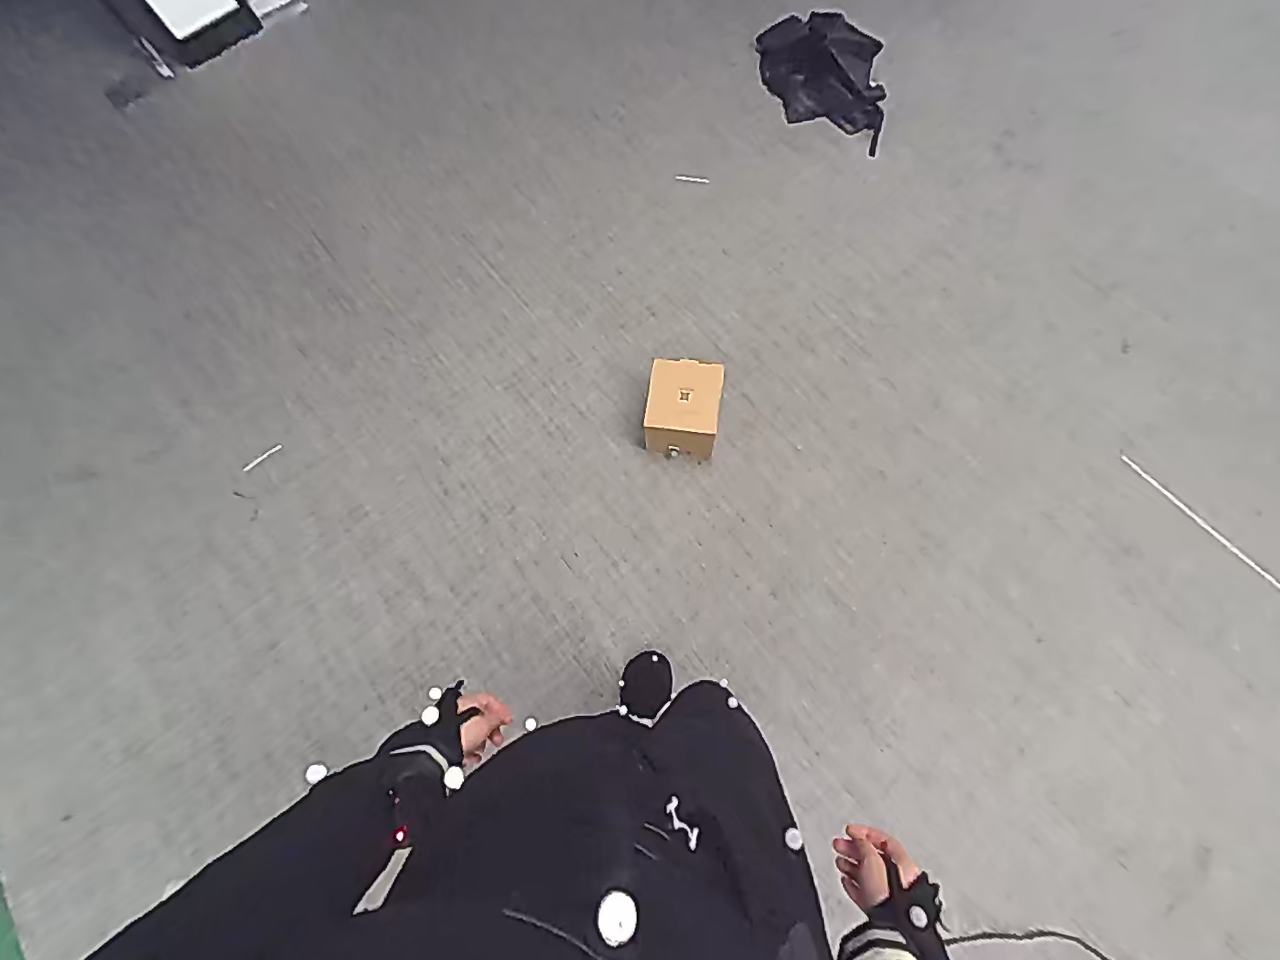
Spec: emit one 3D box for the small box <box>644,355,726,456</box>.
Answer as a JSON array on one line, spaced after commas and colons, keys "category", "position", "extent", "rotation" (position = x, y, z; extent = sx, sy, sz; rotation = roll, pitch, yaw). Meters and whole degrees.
[{"category": "small box", "position": [0.105, -0.172, 1.281], "extent": [0.168, 0.176, 0.179], "rotation": [7, 74, 6]}]
